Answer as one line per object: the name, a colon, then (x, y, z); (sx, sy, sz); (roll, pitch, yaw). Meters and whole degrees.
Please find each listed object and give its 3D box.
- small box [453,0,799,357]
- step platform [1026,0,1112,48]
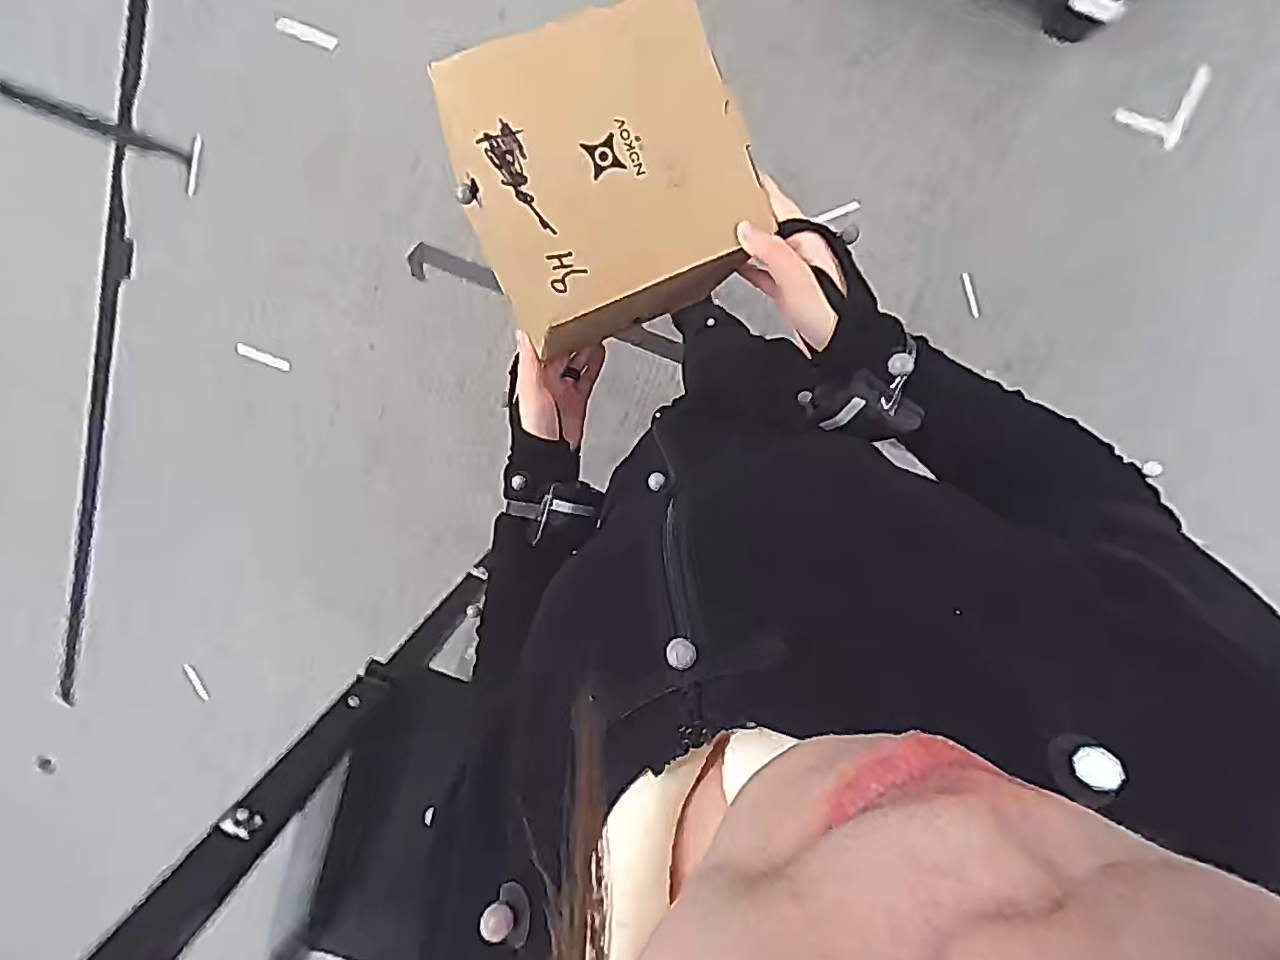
small box: (-0.019, -0.208, 0.407); (0.179, 0.176, 0.168); (-24, 97, -10)
step platform: (0.703, -1.205, 1.087); (0.684, 0.204, 0.286); (26, 103, -1)
